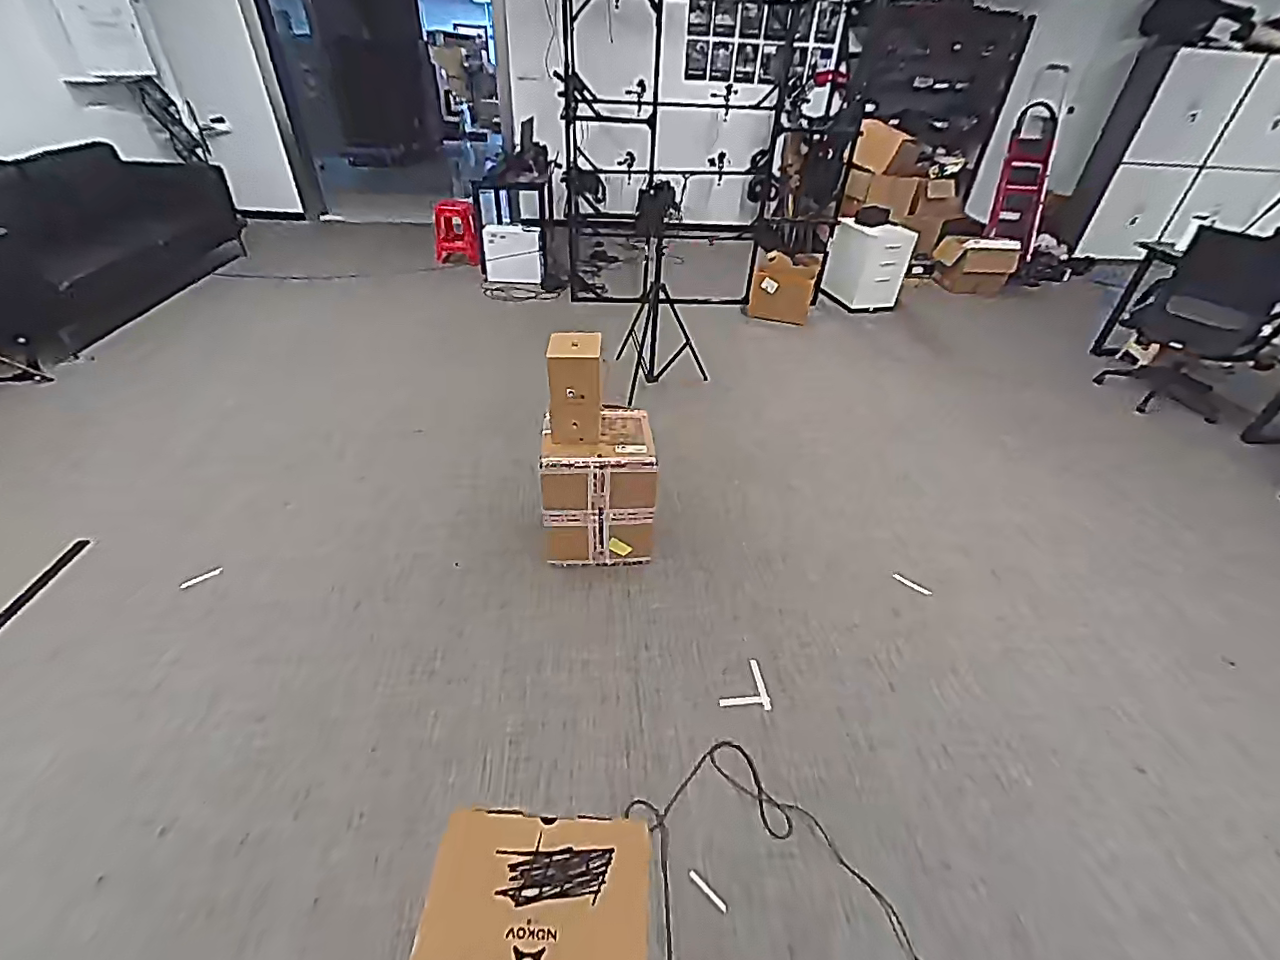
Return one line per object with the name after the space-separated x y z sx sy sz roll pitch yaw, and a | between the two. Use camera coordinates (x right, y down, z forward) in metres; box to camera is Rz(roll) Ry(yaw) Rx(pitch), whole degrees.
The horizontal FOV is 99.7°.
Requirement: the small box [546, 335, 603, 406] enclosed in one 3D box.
-0.206 -0.356 1.753 0.168 0.176 0.179 -1 41 -2 | small box

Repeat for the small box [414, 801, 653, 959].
-0.081 0.386 0.430 0.168 0.176 0.179 5 40 -3 | small box

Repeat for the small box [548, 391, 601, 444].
-0.220 -0.235 1.862 0.168 0.176 0.179 0 40 -2 | small box
